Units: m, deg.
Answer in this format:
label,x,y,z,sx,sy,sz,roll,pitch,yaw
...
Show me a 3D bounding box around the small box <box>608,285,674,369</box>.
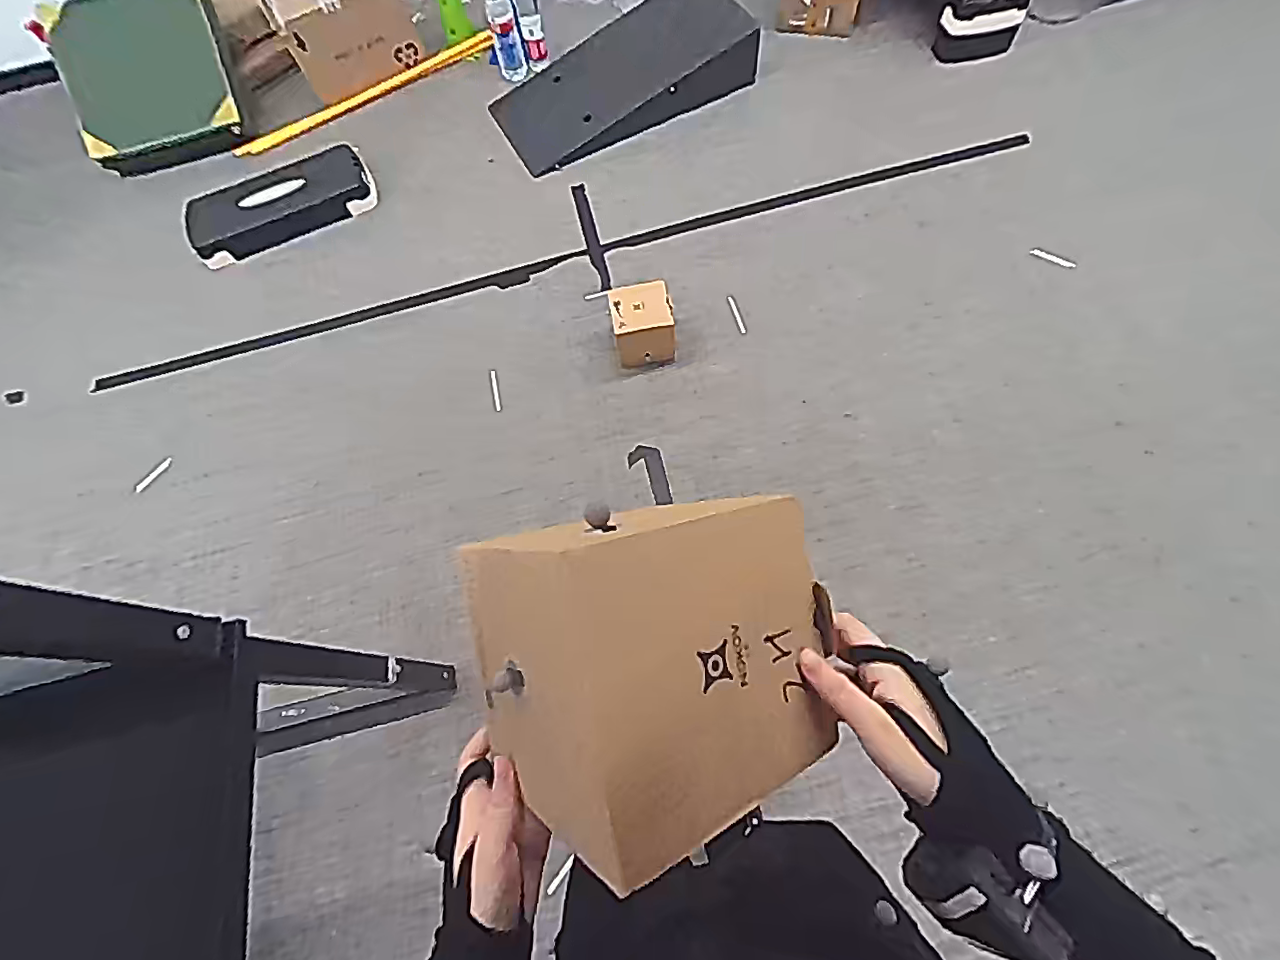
label,x,y,z,sx,sy,sz,roll,pitch,yaw
small box,0.004,-0.456,1.632,0.179,0.176,0.168,-9,66,0
